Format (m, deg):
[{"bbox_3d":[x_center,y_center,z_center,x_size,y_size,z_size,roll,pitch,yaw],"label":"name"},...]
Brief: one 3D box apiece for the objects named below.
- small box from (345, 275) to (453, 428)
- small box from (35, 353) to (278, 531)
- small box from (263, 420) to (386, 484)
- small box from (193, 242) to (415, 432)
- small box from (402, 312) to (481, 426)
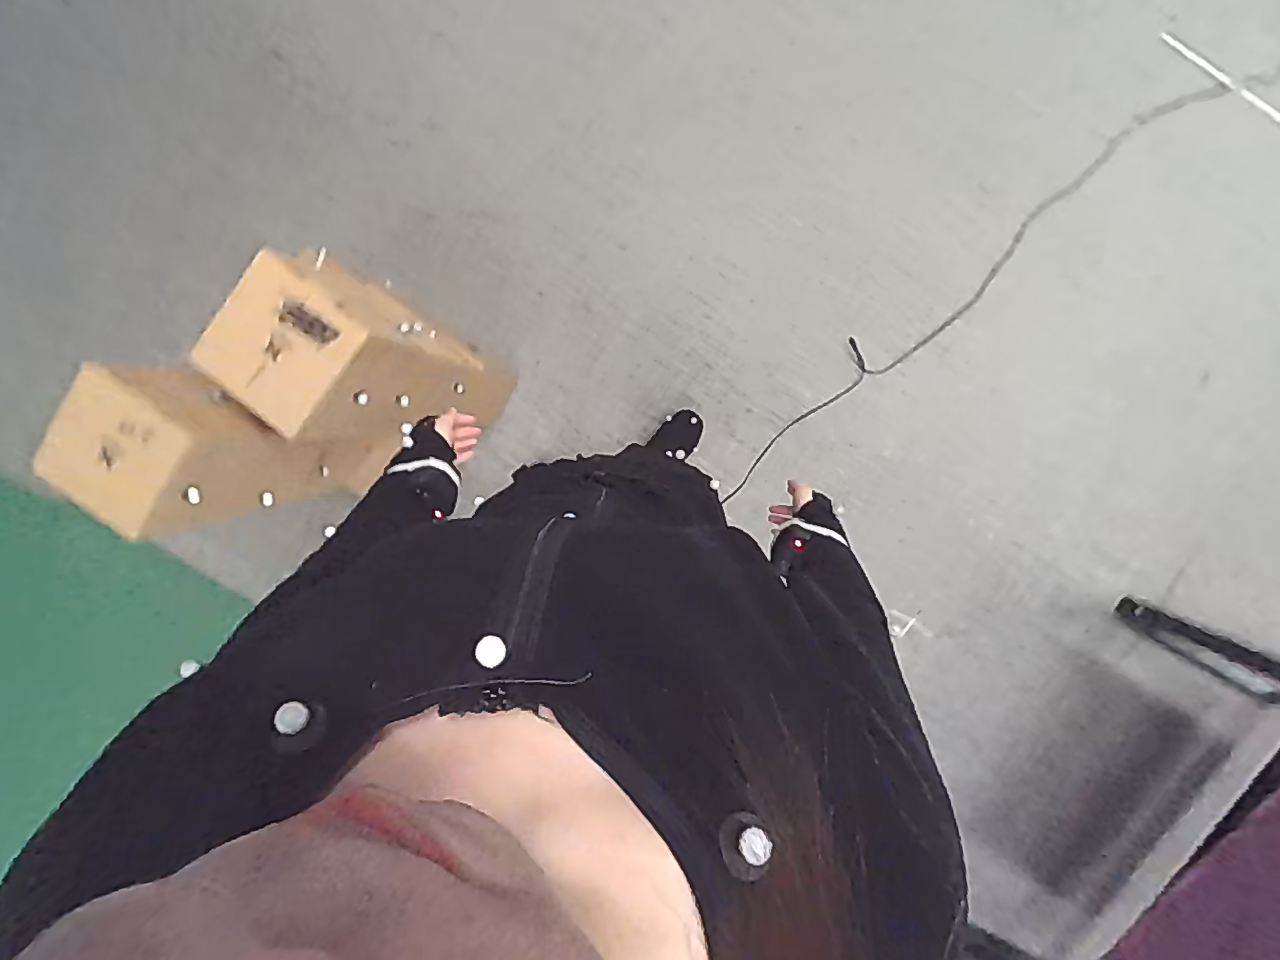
[{"bbox_3d":[-0.444,-0.209,0.917,0.168,0.176,0.179,40,97,-3],"label":"small box"},{"bbox_3d":[-0.677,-0.058,0.780,0.168,0.176,0.179,38,99,-2],"label":"small box"},{"bbox_3d":[-0.669,-0.113,1.106,0.179,0.176,0.168,40,99,-2],"label":"small box"},{"bbox_3d":[-0.445,-0.187,0.753,0.168,0.176,0.179,41,98,-3],"label":"small box"},{"bbox_3d":[-0.450,-0.227,1.078,0.179,0.176,0.168,40,96,-2],"label":"small box"}]
